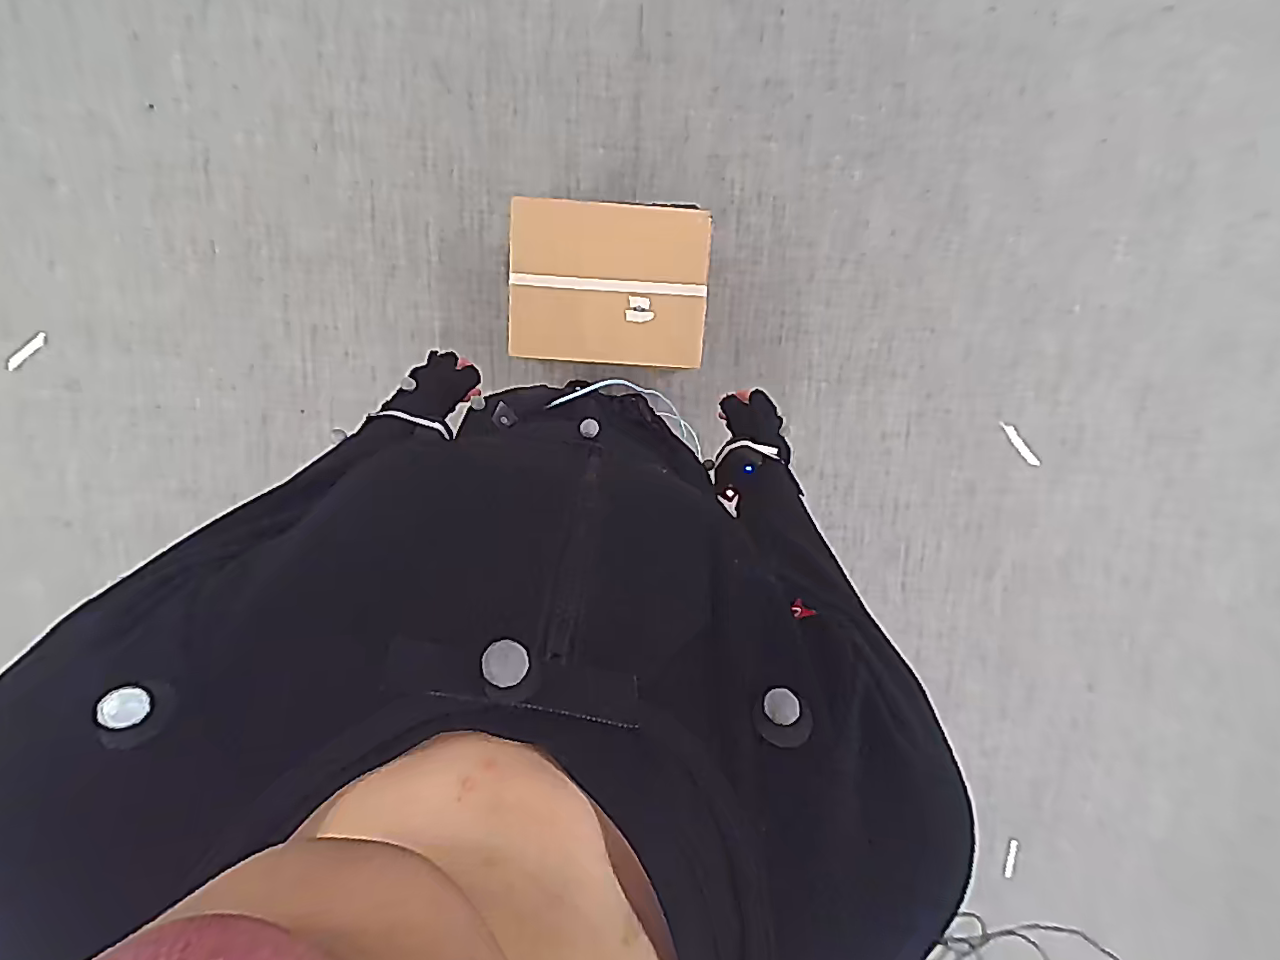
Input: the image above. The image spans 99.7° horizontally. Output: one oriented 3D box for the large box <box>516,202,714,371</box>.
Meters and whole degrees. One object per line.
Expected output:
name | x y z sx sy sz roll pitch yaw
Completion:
large box | -0.061 -0.424 1.263 0.408 0.320 0.320 3 101 -3
